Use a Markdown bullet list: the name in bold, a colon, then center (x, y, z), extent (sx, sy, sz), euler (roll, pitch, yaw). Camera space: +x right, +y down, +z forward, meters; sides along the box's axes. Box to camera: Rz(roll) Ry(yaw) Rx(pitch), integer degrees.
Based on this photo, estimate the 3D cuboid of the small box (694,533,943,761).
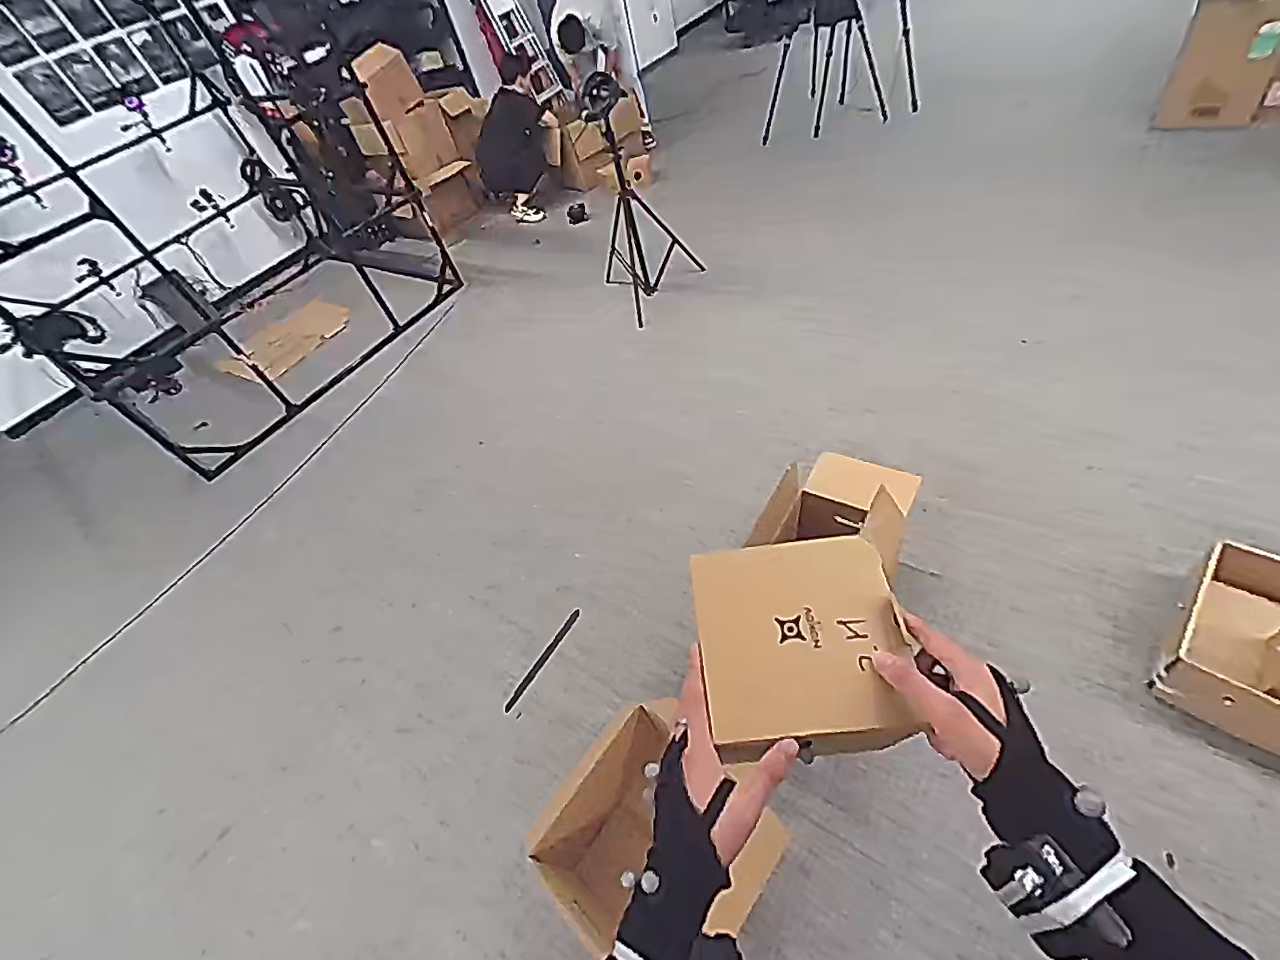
- **small box**: center (0.152, 0.170, 0.526), extent (0.179, 0.176, 0.168), euler (-7, 57, 3)
